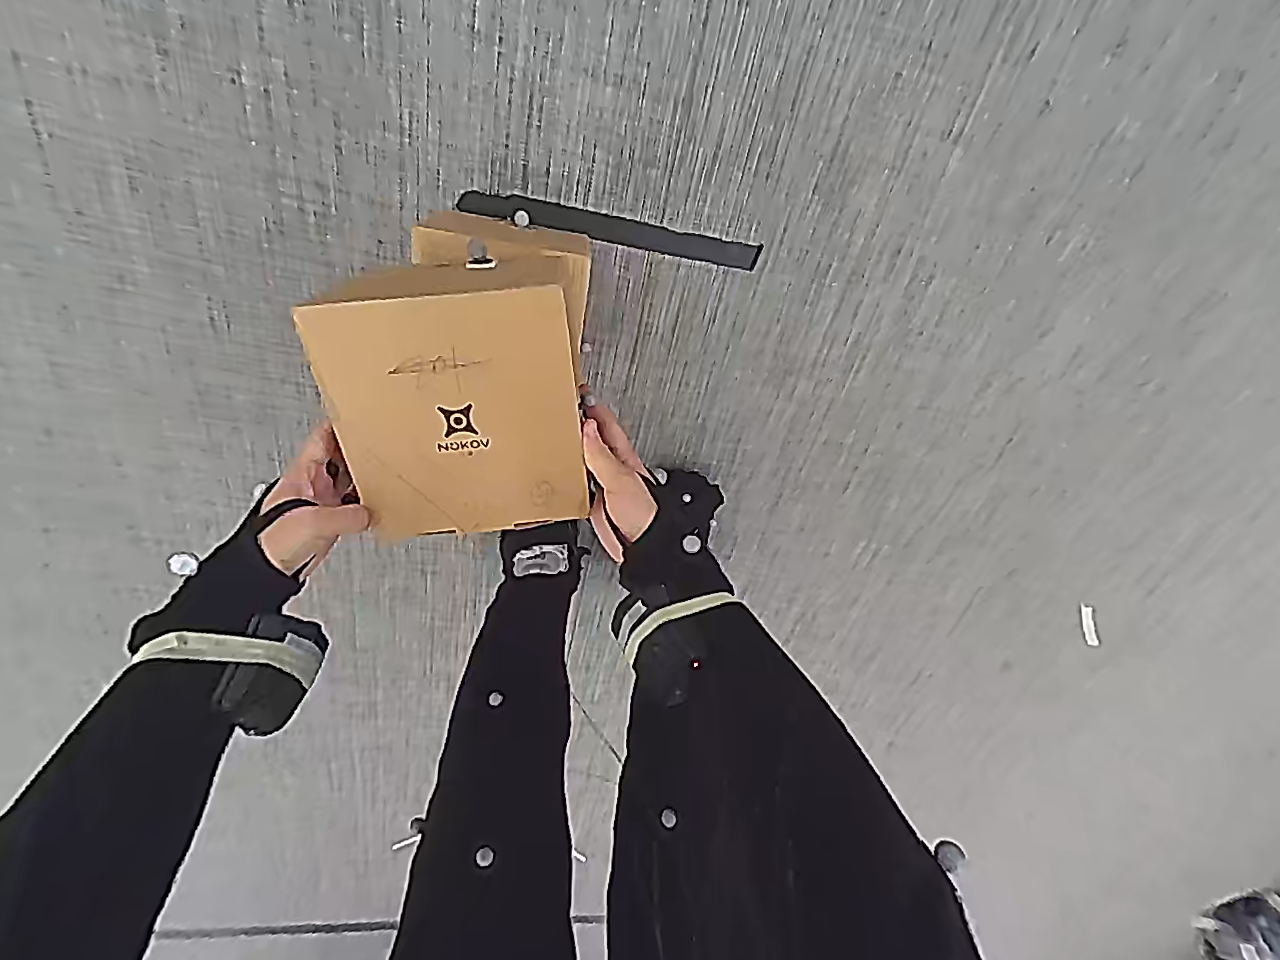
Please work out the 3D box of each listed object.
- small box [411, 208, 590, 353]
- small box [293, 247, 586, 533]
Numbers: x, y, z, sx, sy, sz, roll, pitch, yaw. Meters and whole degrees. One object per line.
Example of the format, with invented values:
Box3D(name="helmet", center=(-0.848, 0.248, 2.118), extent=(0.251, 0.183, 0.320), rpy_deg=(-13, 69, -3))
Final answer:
Box3D(name="small box", center=(-0.150, -0.191, 0.609), extent=(0.168, 0.176, 0.179), rpy_deg=(6, 120, -11))
Box3D(name="small box", center=(-0.135, -0.081, 0.445), extent=(0.168, 0.176, 0.179), rpy_deg=(-7, 120, -4))
